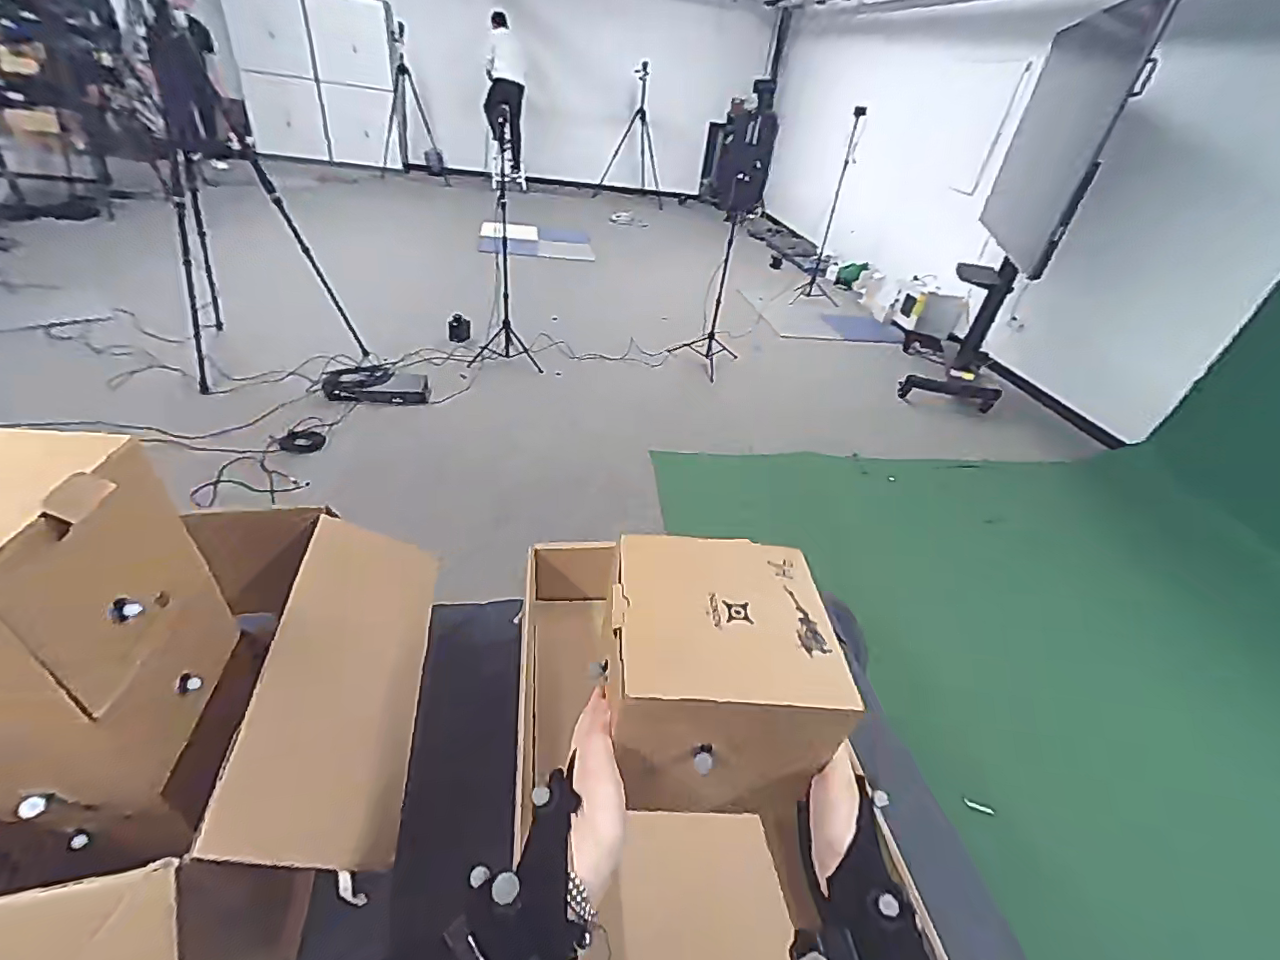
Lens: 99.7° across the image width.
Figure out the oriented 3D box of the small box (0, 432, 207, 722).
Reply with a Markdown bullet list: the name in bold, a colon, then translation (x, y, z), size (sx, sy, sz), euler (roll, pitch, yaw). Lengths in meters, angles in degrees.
- **small box**: translation (-0.507, 0.077, 0.433), size (0.179, 0.176, 0.168), euler (3, 37, -9)

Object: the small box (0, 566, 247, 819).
- **small box**: translation (-0.527, 0.202, 0.533), size (0.168, 0.176, 0.179), euler (2, 39, -10)

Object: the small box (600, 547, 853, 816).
- **small box**: translation (0.058, 0.182, 0.494), size (0.179, 0.176, 0.168), euler (6, 36, -7)
